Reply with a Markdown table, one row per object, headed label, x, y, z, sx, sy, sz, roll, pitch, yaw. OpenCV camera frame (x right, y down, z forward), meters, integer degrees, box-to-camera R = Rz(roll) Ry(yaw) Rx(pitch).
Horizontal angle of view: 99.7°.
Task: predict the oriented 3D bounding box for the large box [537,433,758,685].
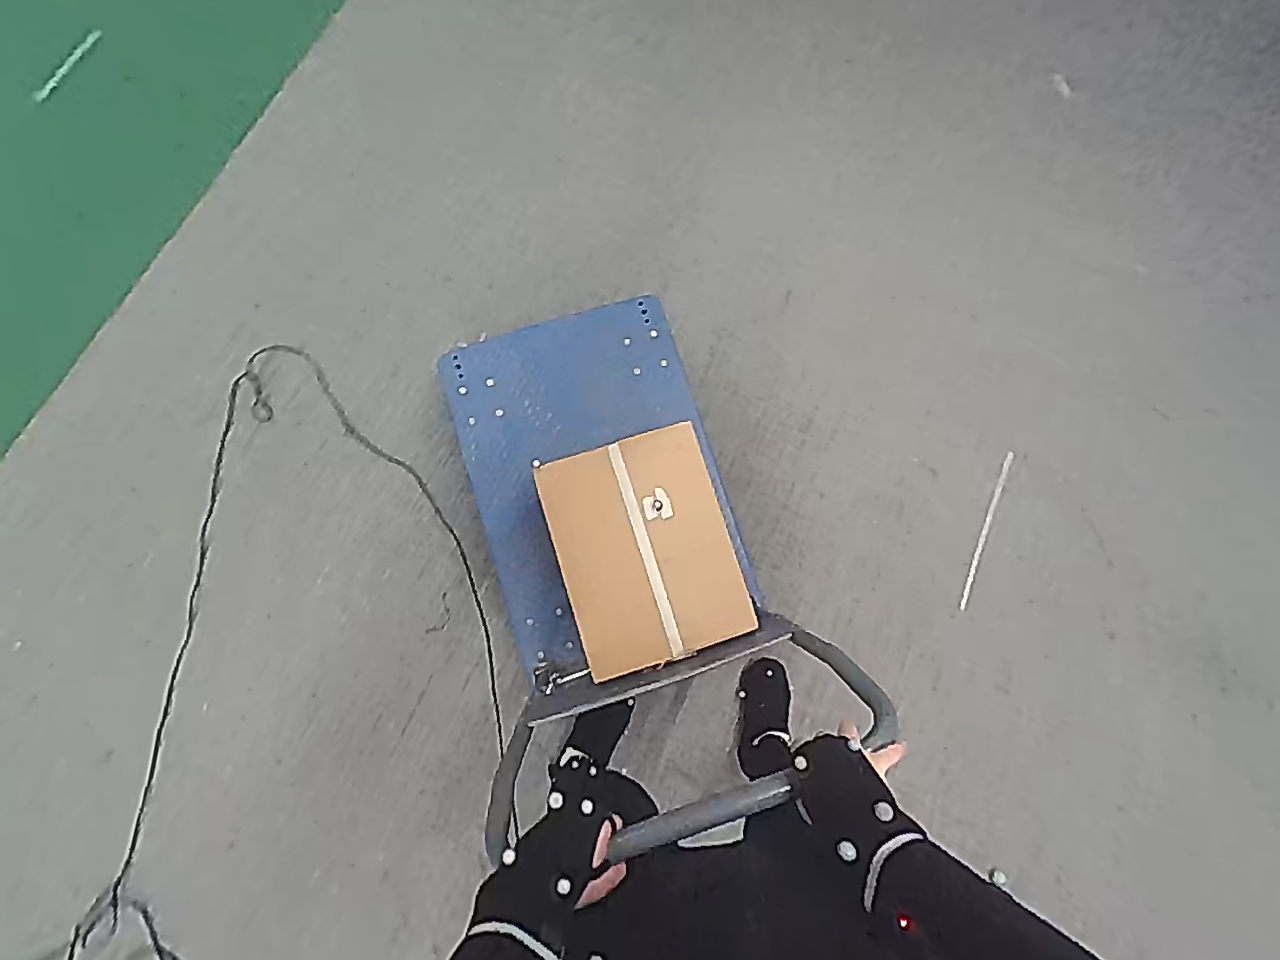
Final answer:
| label | x | y | z | sx | sy | sz | roll | pitch | yaw |
| --- | --- | --- | --- | --- | --- | --- | --- | --- | --- |
| large box | 0.010 | 0.162 | 1.152 | 0.320 | 0.320 | 0.408 | -18 | 82 | -4 |
